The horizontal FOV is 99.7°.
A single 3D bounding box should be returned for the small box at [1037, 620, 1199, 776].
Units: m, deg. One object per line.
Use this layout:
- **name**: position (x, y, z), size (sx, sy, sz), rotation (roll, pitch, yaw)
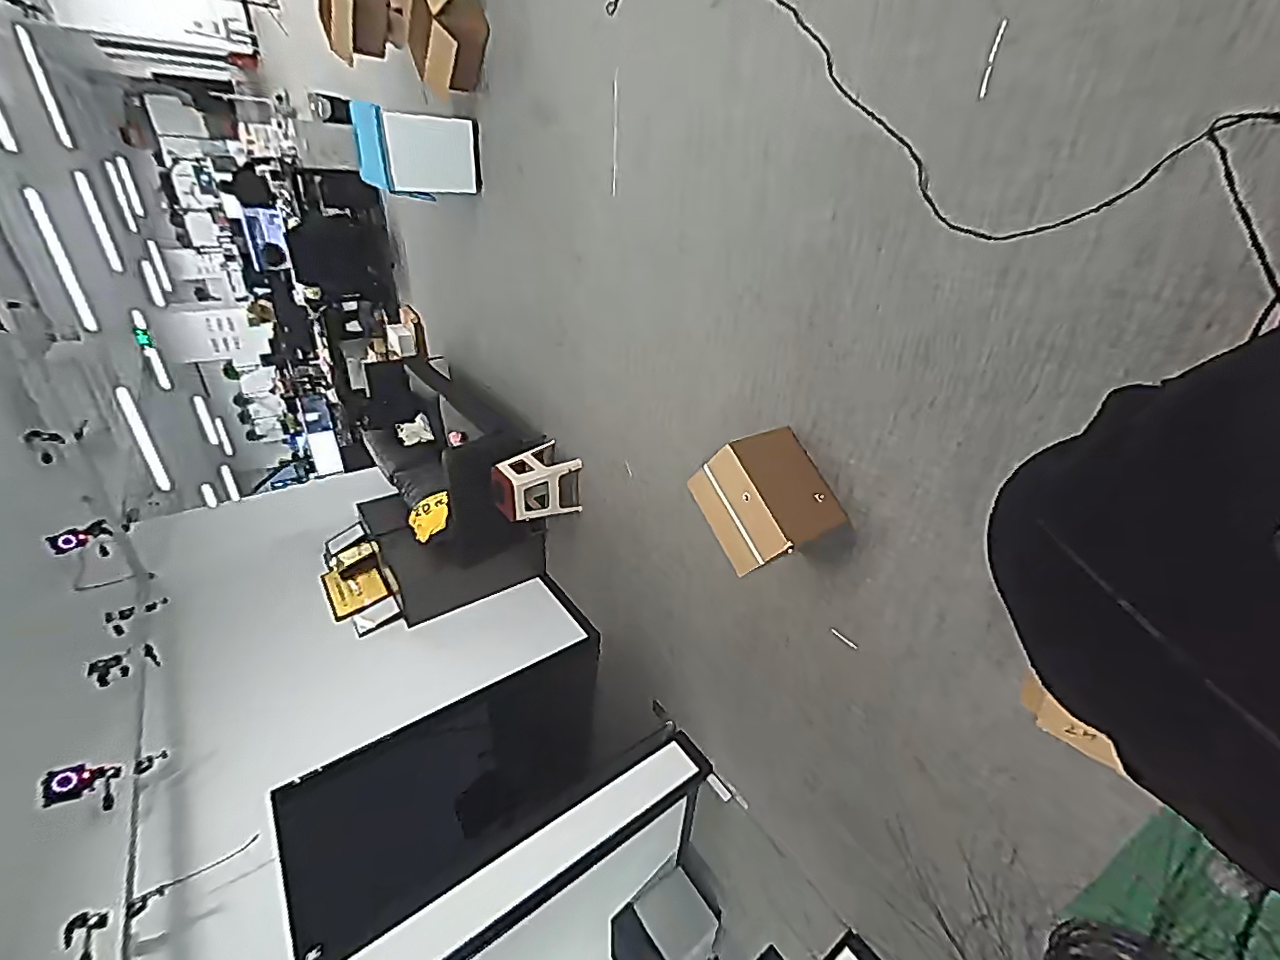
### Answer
- **small box**: position (0.885, 0.390, 1.003), size (0.168, 0.176, 0.179), rotation (28, 127, 49)
